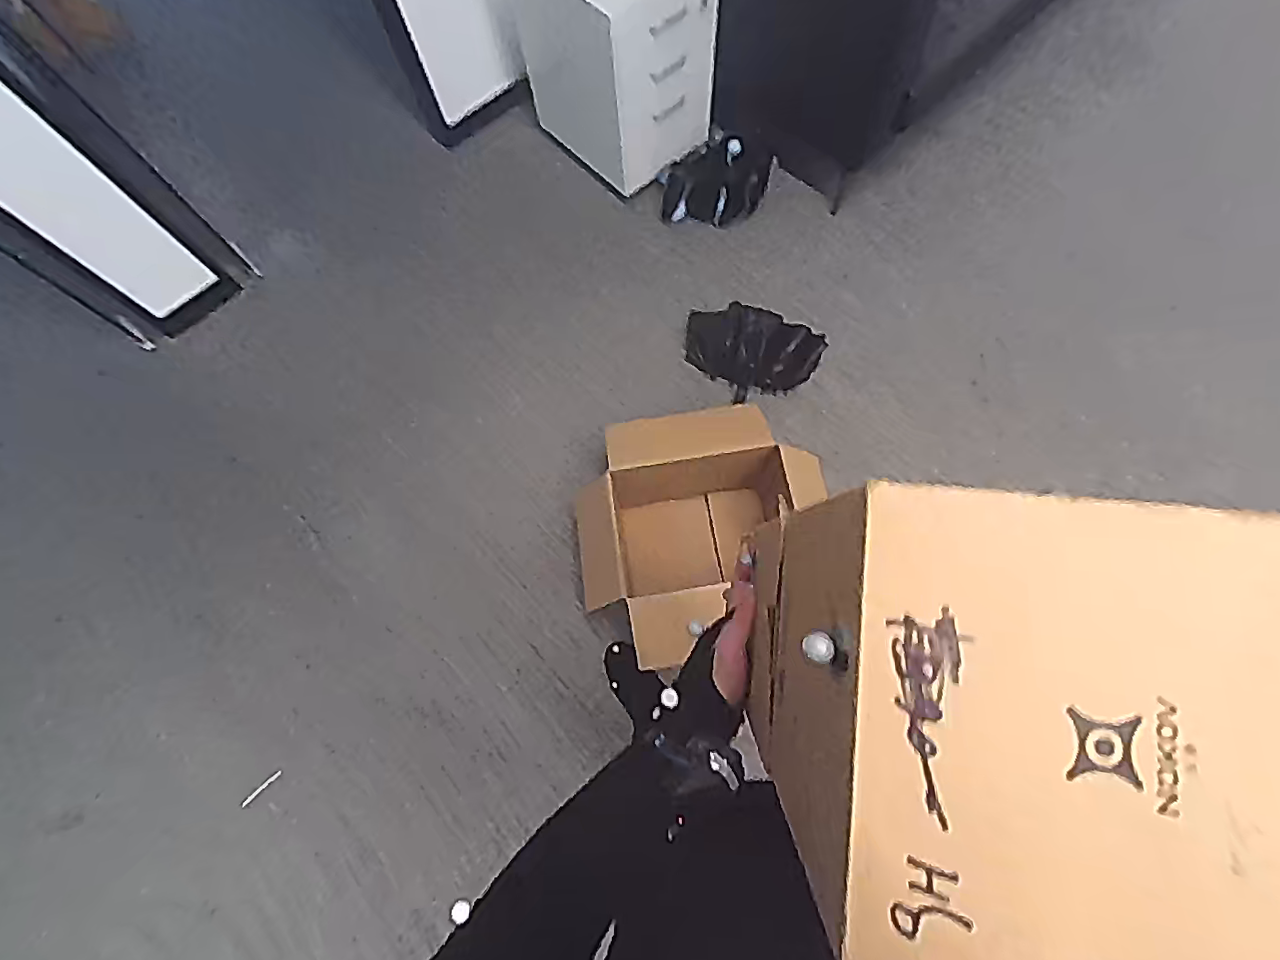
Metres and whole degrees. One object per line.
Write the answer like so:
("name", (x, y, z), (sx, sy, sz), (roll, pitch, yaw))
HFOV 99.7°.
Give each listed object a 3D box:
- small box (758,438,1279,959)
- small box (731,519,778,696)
("small box", (0.161, 0.085, 0.253), (0.179, 0.176, 0.168), (6, 82, 6))
("small box", (0.193, 0.134, 0.577), (0.179, 0.176, 0.168), (3, 82, 8))
